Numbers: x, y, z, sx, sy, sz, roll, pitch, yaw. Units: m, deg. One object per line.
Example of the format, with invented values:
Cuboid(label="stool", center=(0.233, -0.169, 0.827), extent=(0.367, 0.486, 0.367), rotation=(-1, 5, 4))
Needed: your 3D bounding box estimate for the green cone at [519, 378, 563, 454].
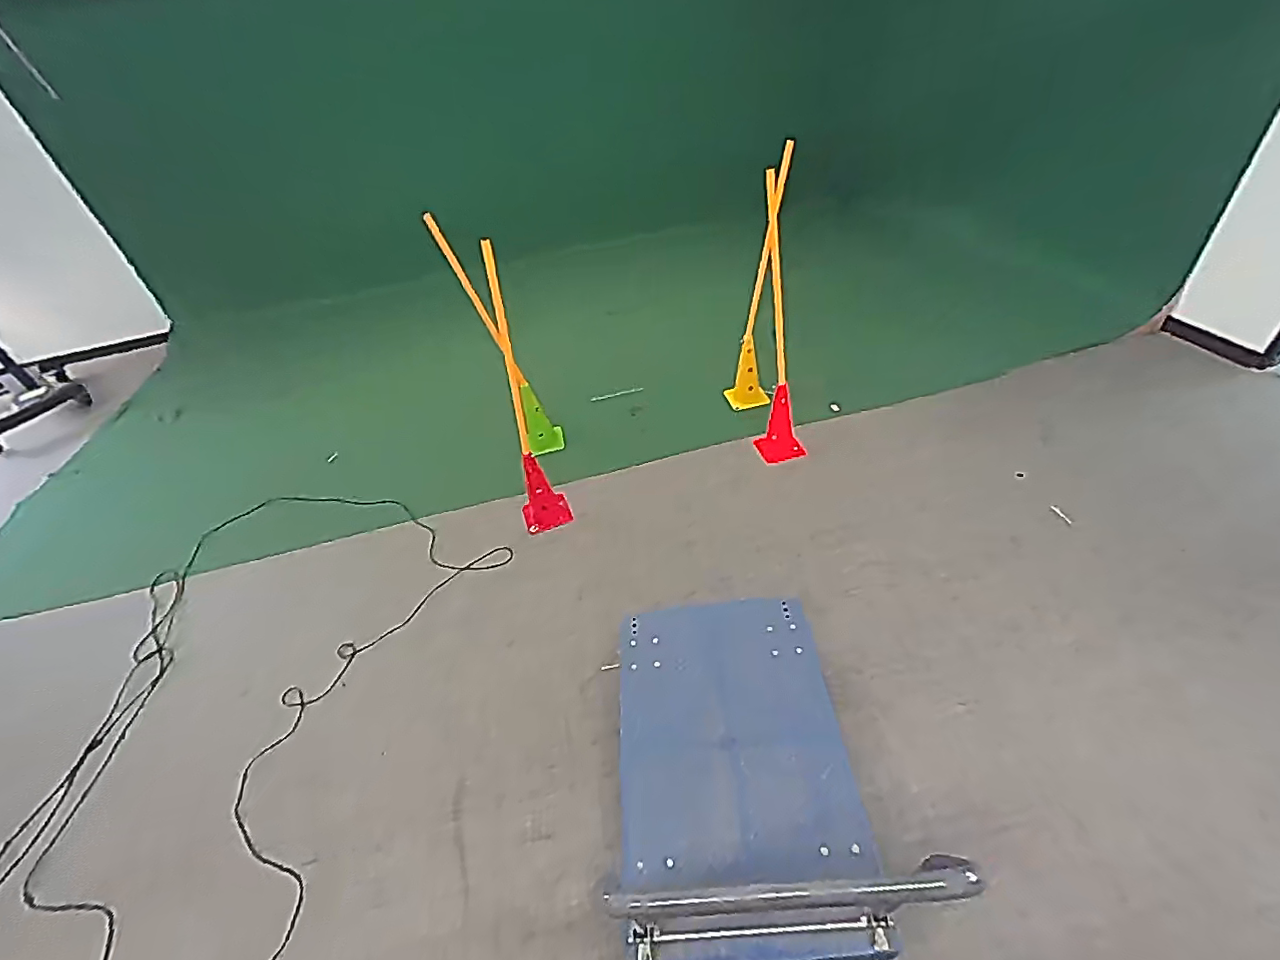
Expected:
Cuboid(label="green cone", center=(-0.531, -0.339, 2.697), extent=(0.200, 0.368, 0.202), rotation=(-14, 41, -4))

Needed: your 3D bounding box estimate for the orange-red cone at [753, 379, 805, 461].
Cuboid(label="orange-red cone", center=(0.626, -0.291, 2.422), extent=(0.198, 0.360, 0.199), rotation=(-13, 40, -5))
